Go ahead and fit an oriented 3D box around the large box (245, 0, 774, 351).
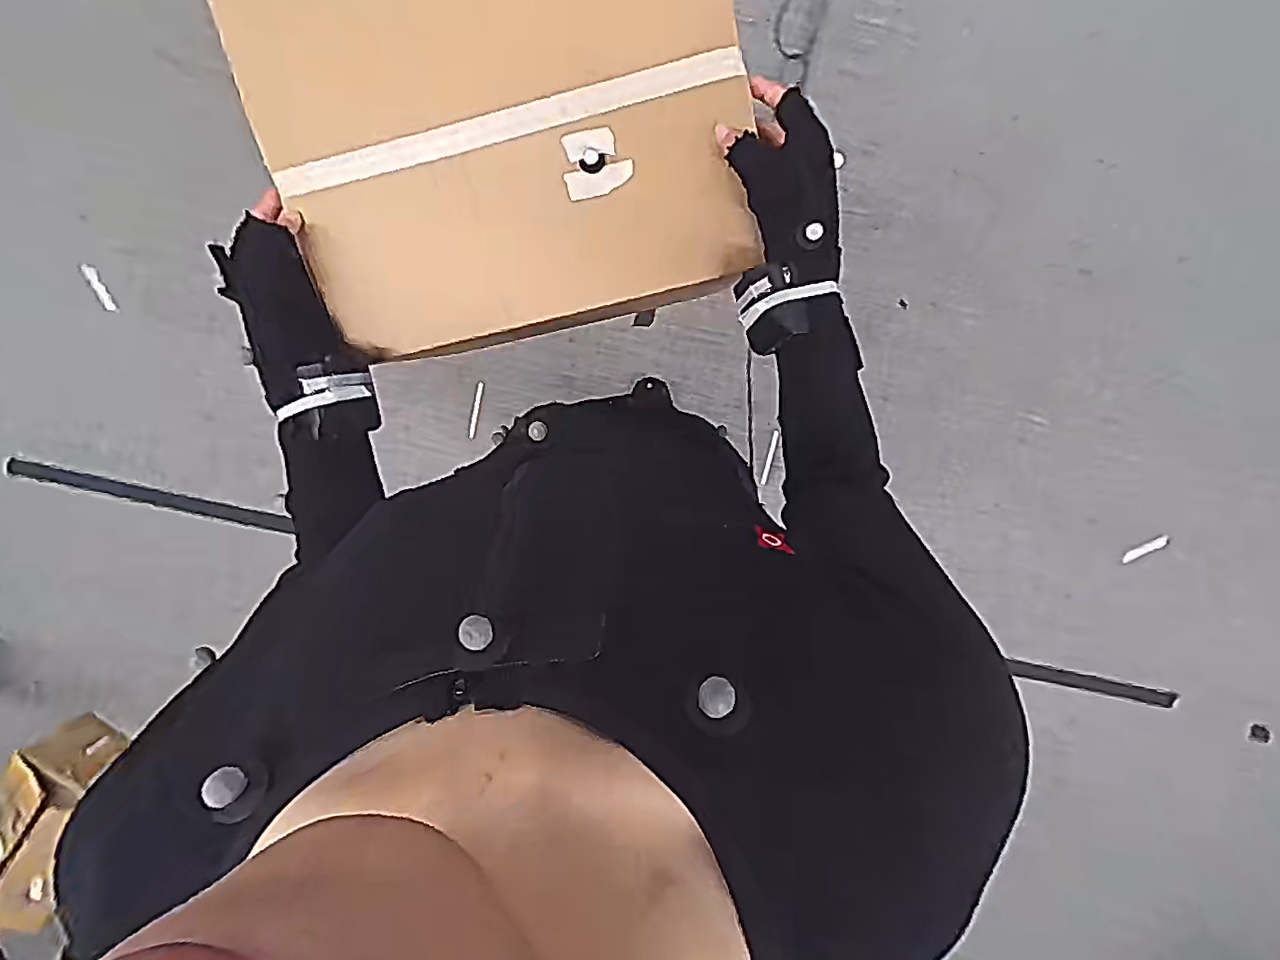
[{"bbox_3d":[-0.103,-0.343,0.608,0.408,0.320,0.320,-11,105,3],"label":"large box"}]
